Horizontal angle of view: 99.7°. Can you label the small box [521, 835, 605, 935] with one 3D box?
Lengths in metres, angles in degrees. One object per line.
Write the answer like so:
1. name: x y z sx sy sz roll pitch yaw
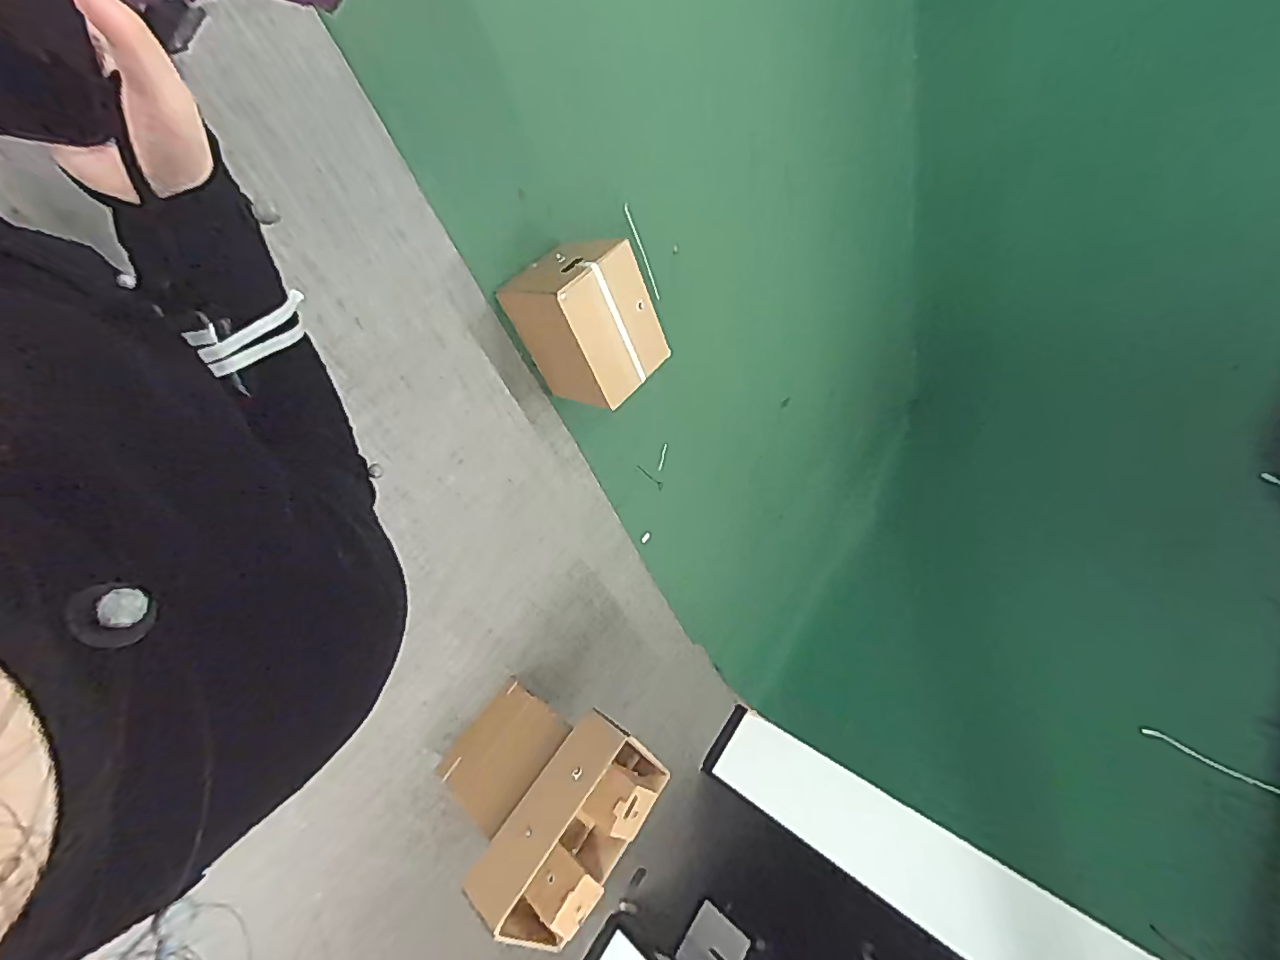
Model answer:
1. small box: -0.245 1.266 1.703 0.168 0.176 0.179 -43 131 -27
